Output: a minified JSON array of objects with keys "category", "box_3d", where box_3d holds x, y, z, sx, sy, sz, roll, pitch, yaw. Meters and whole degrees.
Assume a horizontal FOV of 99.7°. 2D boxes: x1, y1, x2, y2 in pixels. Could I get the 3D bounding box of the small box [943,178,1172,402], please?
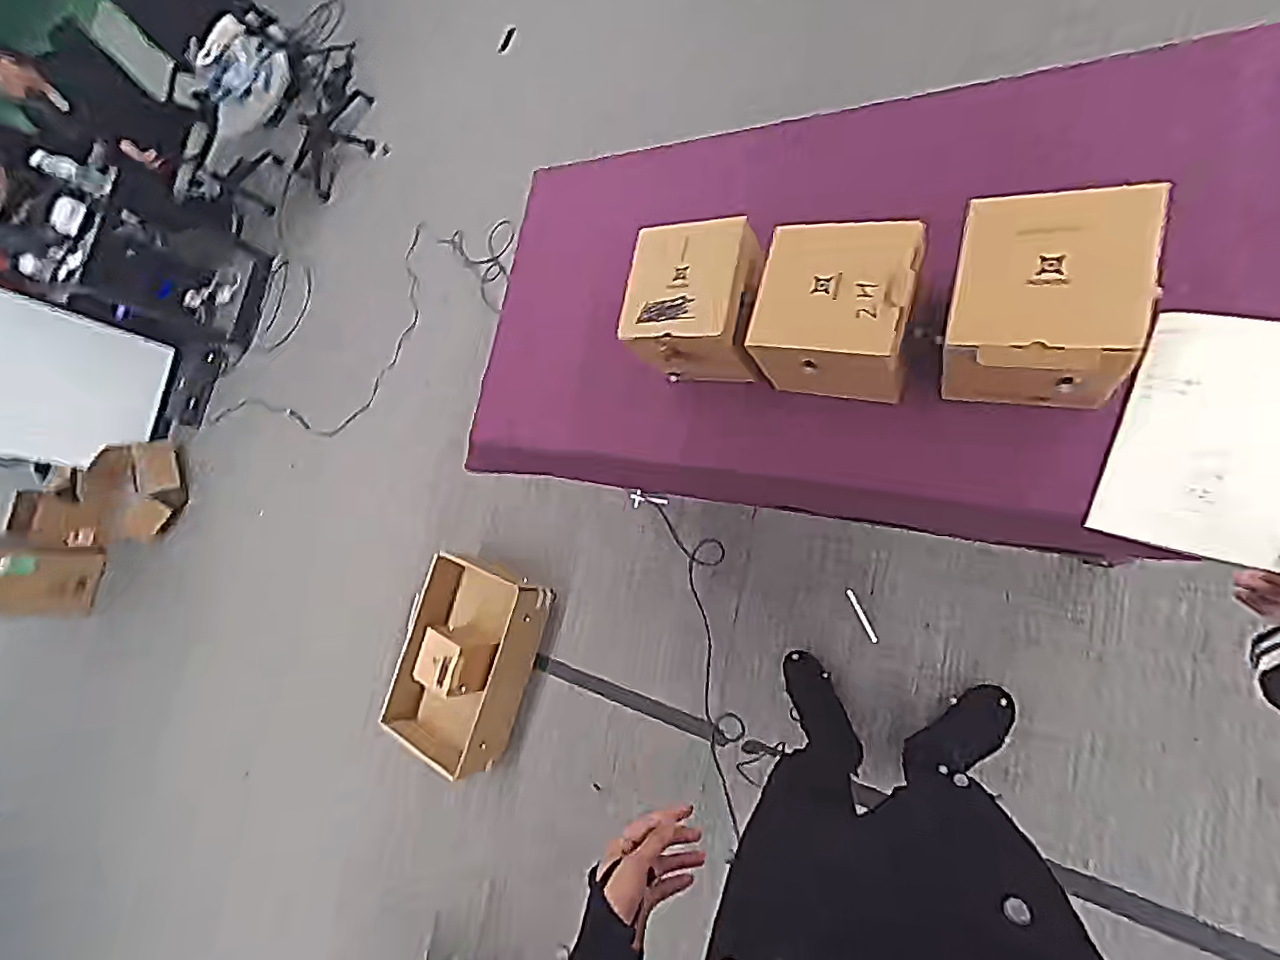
[{"category":"small box","box_3d":[0.450,-0.198,0.610,0.168,0.176,0.179,11,83,29]}]
